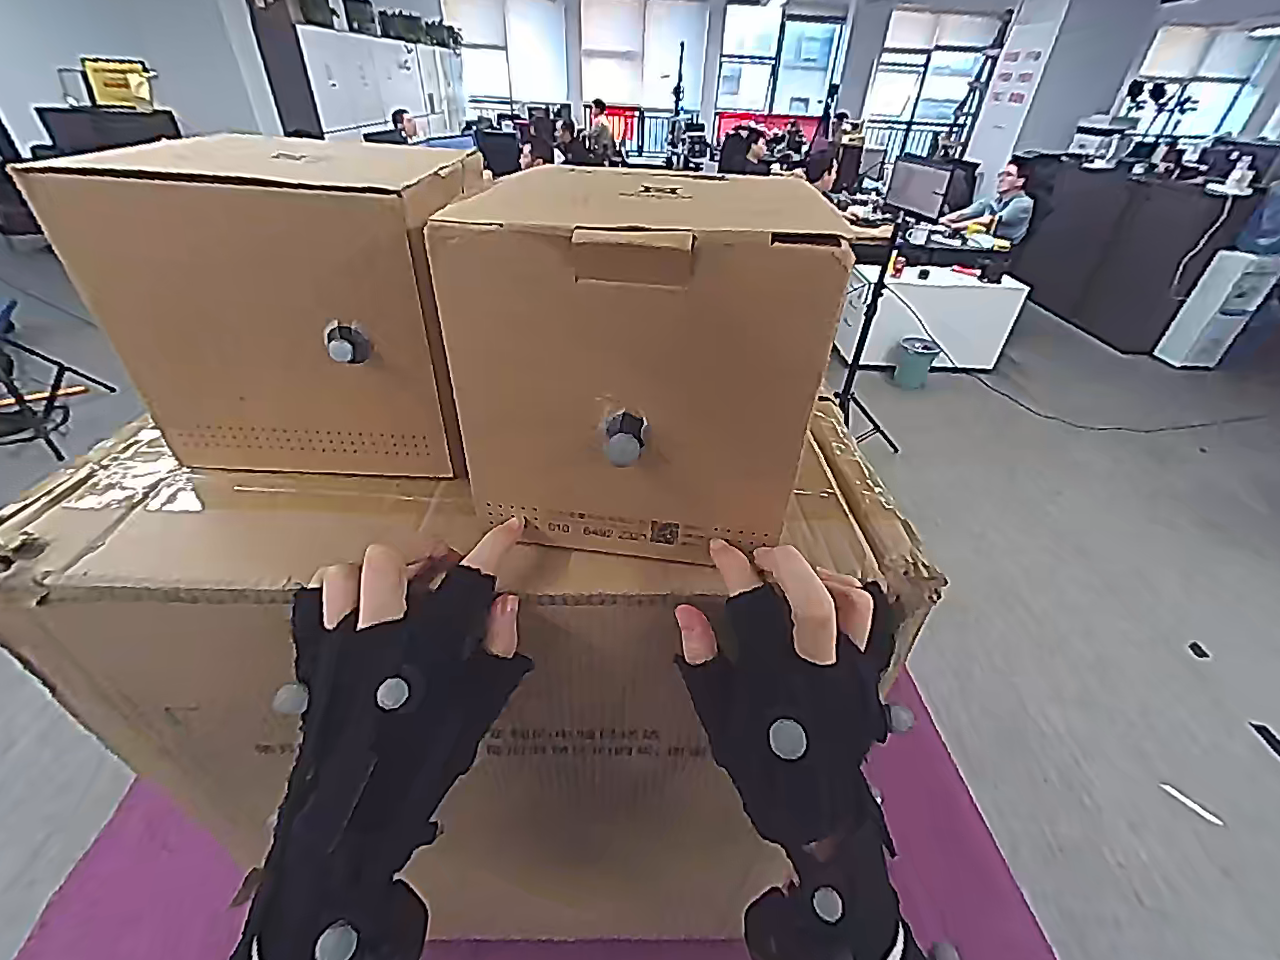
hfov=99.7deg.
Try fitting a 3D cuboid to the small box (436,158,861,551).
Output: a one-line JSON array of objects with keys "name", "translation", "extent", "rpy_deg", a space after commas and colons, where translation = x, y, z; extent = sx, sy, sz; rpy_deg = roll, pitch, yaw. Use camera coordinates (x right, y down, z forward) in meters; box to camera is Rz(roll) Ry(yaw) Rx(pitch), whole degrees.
[{"name": "small box", "translation": [0.009, -0.079, 0.315], "extent": [0.168, 0.176, 0.179], "rpy_deg": [6, 36, 4]}]

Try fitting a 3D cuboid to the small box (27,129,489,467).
[{"name": "small box", "translation": [-0.193, -0.120, 0.355], "extent": [0.179, 0.176, 0.168], "rpy_deg": [1, 36, -2]}]
